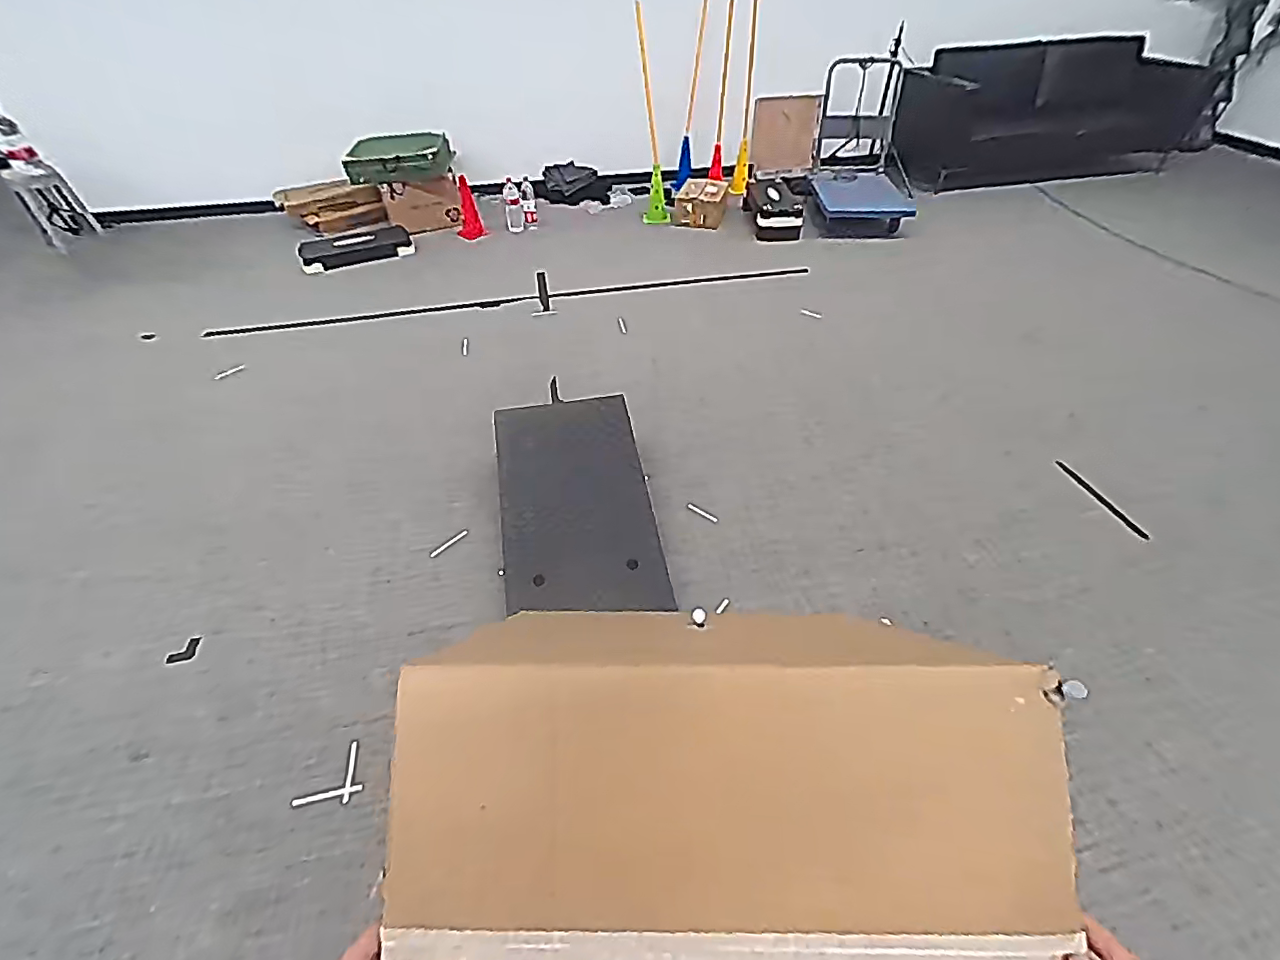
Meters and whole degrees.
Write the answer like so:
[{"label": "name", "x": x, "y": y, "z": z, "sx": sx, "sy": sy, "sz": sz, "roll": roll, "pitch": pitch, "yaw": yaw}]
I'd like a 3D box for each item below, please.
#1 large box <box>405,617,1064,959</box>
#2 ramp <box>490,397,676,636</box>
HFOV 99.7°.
[{"label": "large box", "x": 0.054, "y": 0.295, "z": 0.474, "sx": 0.408, "sy": 0.320, "sz": 0.320, "roll": -1, "pitch": 84, "yaw": 0}, {"label": "ramp", "x": -0.213, "y": 0.123, "z": 1.758, "sx": 0.509, "sy": 0.206, "sz": 0.991, "roll": -9, "pitch": 46, "yaw": -10}]
